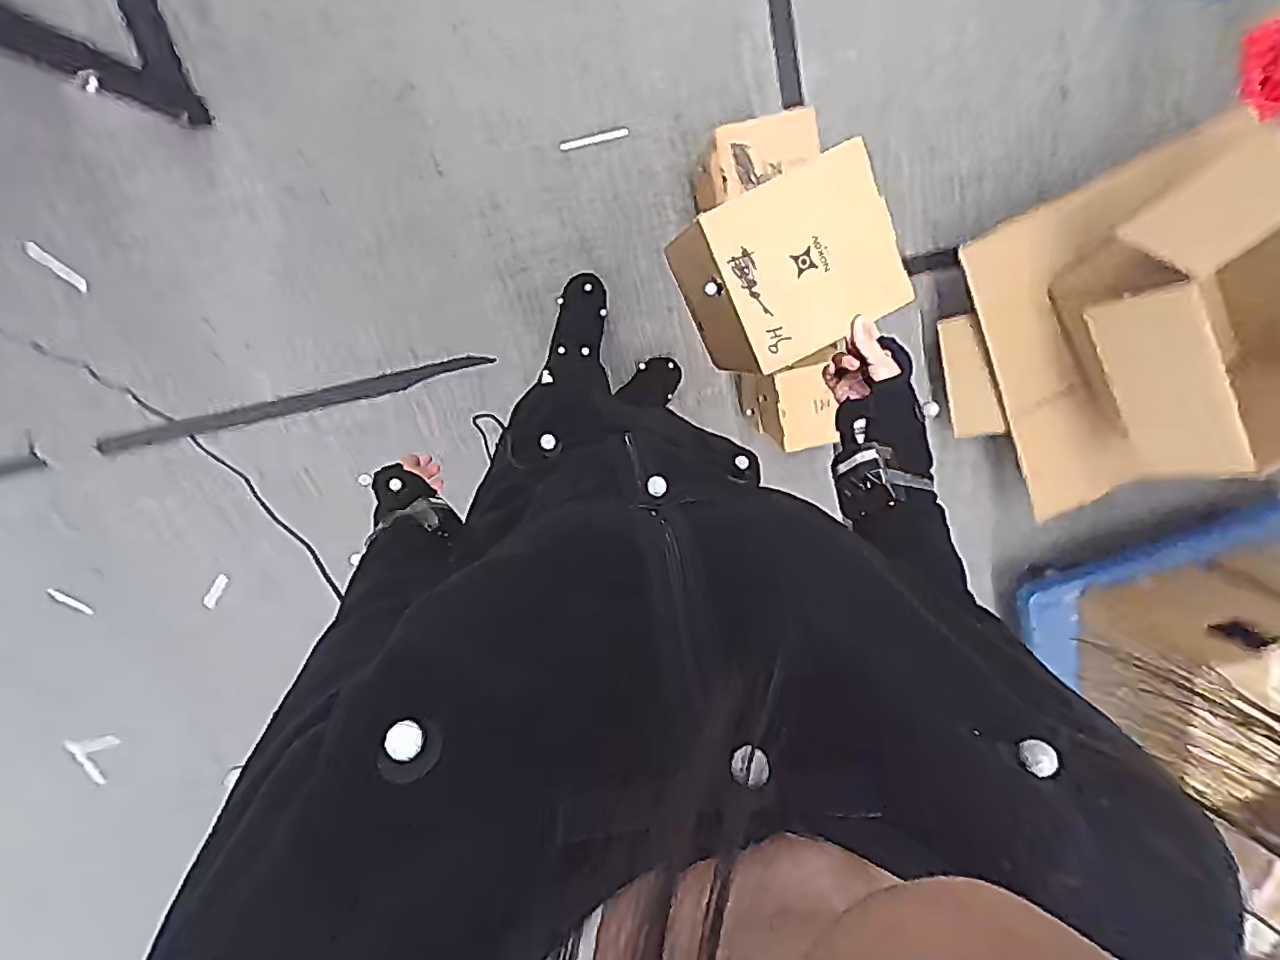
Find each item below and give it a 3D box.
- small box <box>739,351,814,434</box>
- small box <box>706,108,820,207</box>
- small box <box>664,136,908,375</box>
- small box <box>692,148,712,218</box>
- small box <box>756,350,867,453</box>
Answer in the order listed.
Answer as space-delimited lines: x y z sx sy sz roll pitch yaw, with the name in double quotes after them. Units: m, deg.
0.340 -0.224 1.311 0.168 0.176 0.179 -9 109 0 "small box"
0.227 -0.563 1.019 0.179 0.176 0.168 -13 109 0 "small box"
0.148 -0.231 0.597 0.179 0.176 0.168 -29 105 -3 "small box"
0.219 -0.621 1.173 0.168 0.176 0.179 -15 108 2 "small box"
0.360 -0.174 1.157 0.179 0.176 0.168 -12 110 2 "small box"
